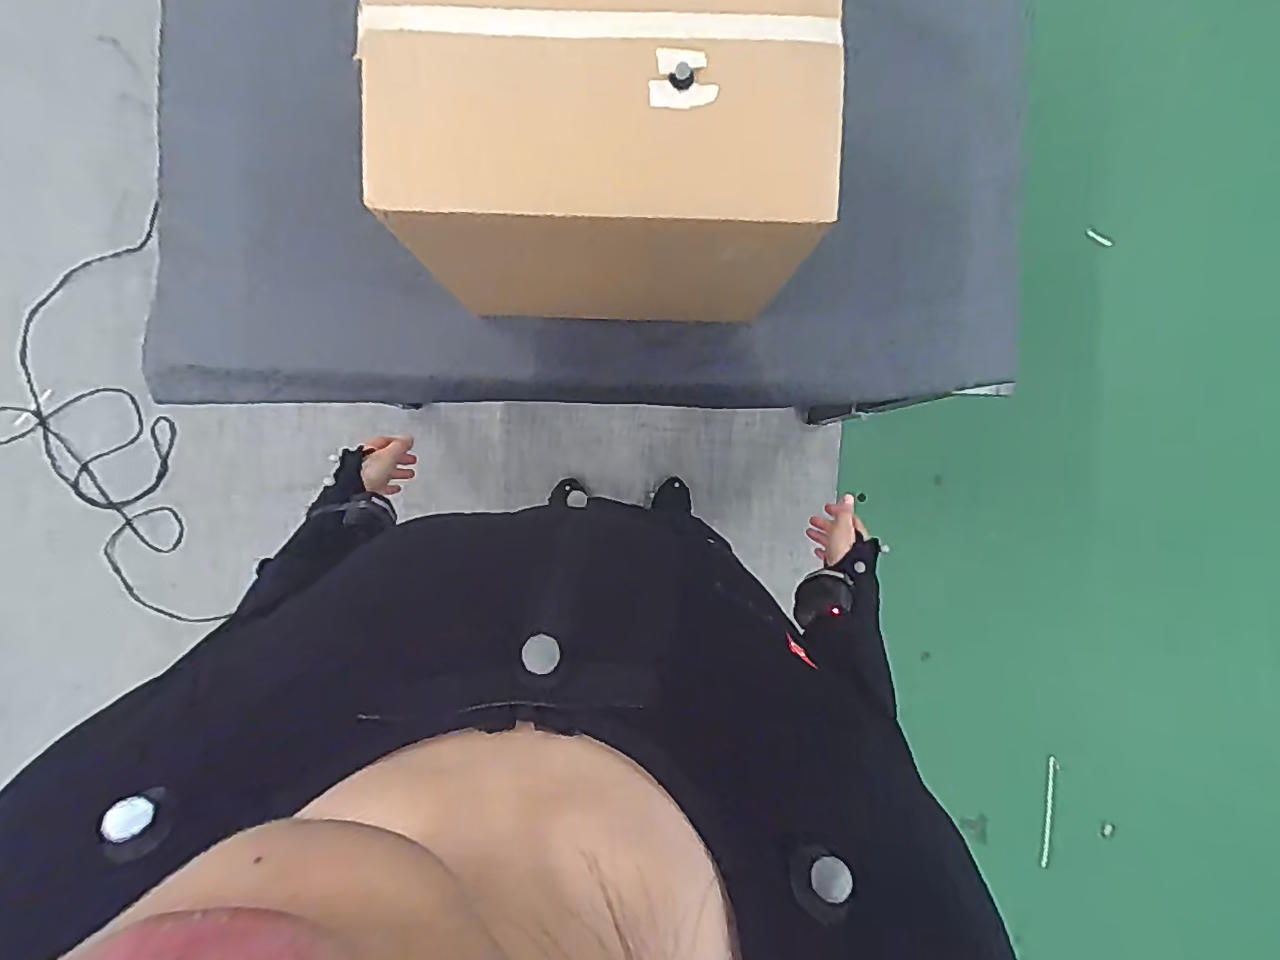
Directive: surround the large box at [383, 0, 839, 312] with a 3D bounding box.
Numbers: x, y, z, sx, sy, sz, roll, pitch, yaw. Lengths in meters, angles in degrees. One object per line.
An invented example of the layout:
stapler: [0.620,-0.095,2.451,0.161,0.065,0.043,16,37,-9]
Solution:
large box: [-0.028,-0.390,0.620,0.408,0.320,0.320,1,92,-1]
